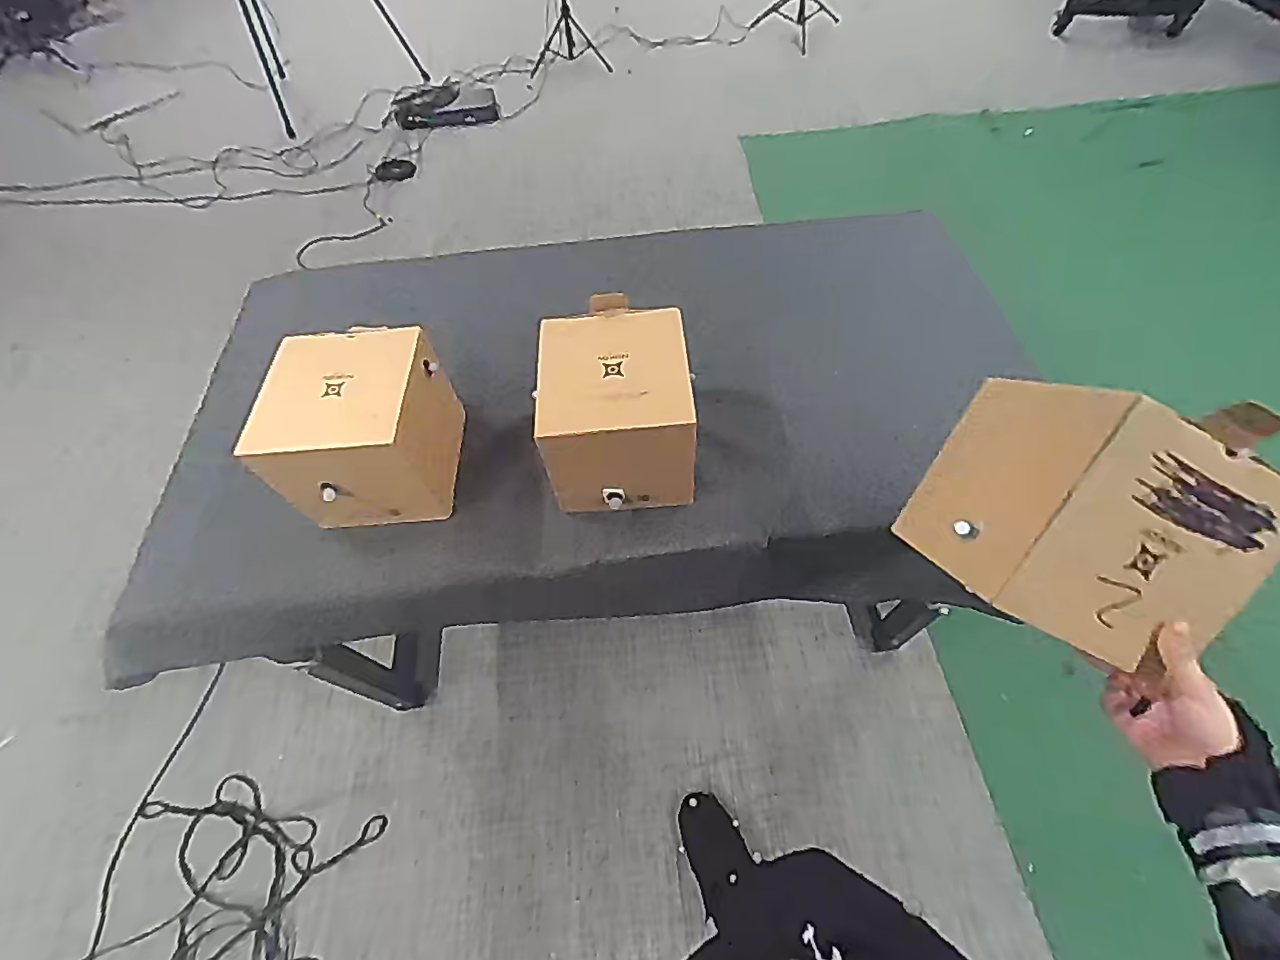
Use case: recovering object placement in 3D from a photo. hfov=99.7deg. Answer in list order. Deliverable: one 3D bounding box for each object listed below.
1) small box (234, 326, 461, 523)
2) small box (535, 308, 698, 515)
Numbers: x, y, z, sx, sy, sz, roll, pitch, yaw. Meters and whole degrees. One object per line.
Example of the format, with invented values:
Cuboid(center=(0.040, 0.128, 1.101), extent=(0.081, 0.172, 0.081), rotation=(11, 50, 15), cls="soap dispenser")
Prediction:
Cuboid(center=(-0.329, -0.058, 0.654), extent=(0.168, 0.176, 0.179), rotation=(-5, 56, 1), cls="small box")
Cuboid(center=(-0.025, -0.077, 0.649), extent=(0.168, 0.176, 0.179), rotation=(-5, 57, 1), cls="small box")
